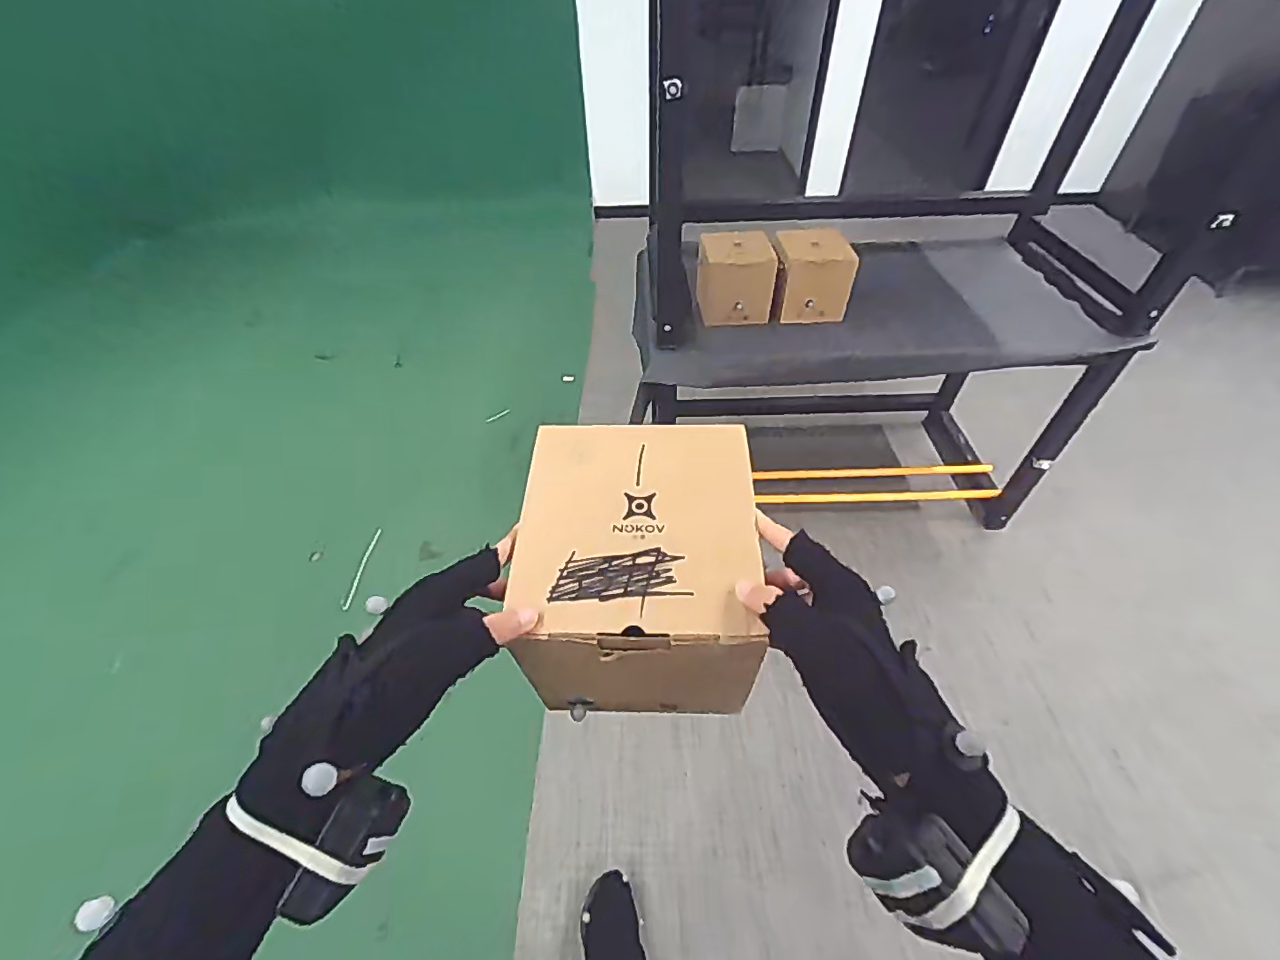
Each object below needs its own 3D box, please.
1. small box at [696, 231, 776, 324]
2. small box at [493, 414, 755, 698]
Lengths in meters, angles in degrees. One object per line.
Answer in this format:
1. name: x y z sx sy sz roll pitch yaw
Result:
1. small box: 0.237 -0.517 1.382 0.168 0.176 0.179 -3 46 -1
2. small box: -0.003 0.067 0.439 0.168 0.176 0.179 0 52 3
